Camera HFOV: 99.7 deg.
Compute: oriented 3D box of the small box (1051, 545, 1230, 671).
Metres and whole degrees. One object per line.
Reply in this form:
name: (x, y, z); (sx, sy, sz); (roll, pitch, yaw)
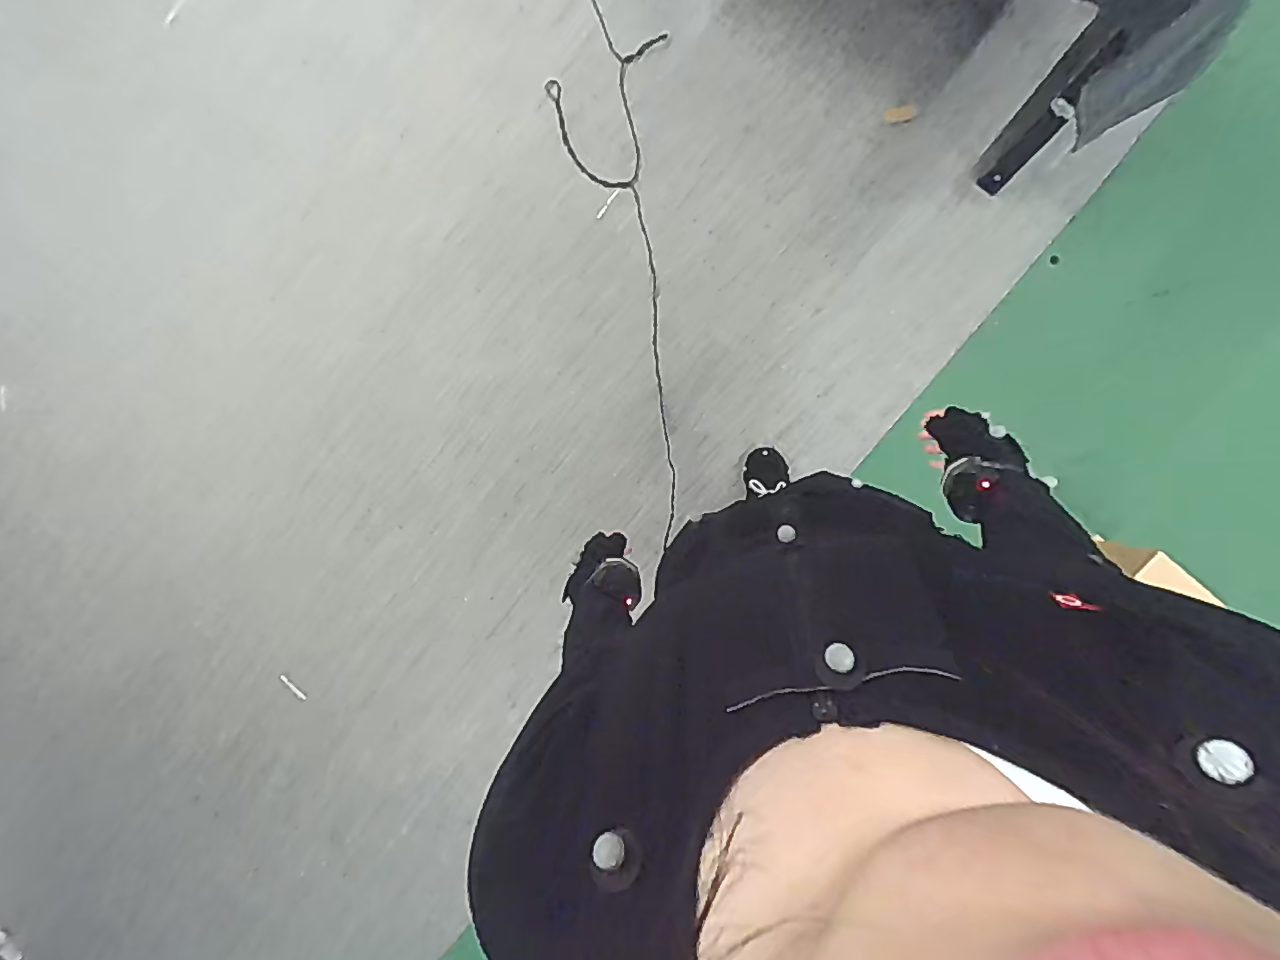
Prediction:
small box: (1.019, 0.253, 1.122); (0.168, 0.176, 0.179); (43, 95, 5)
